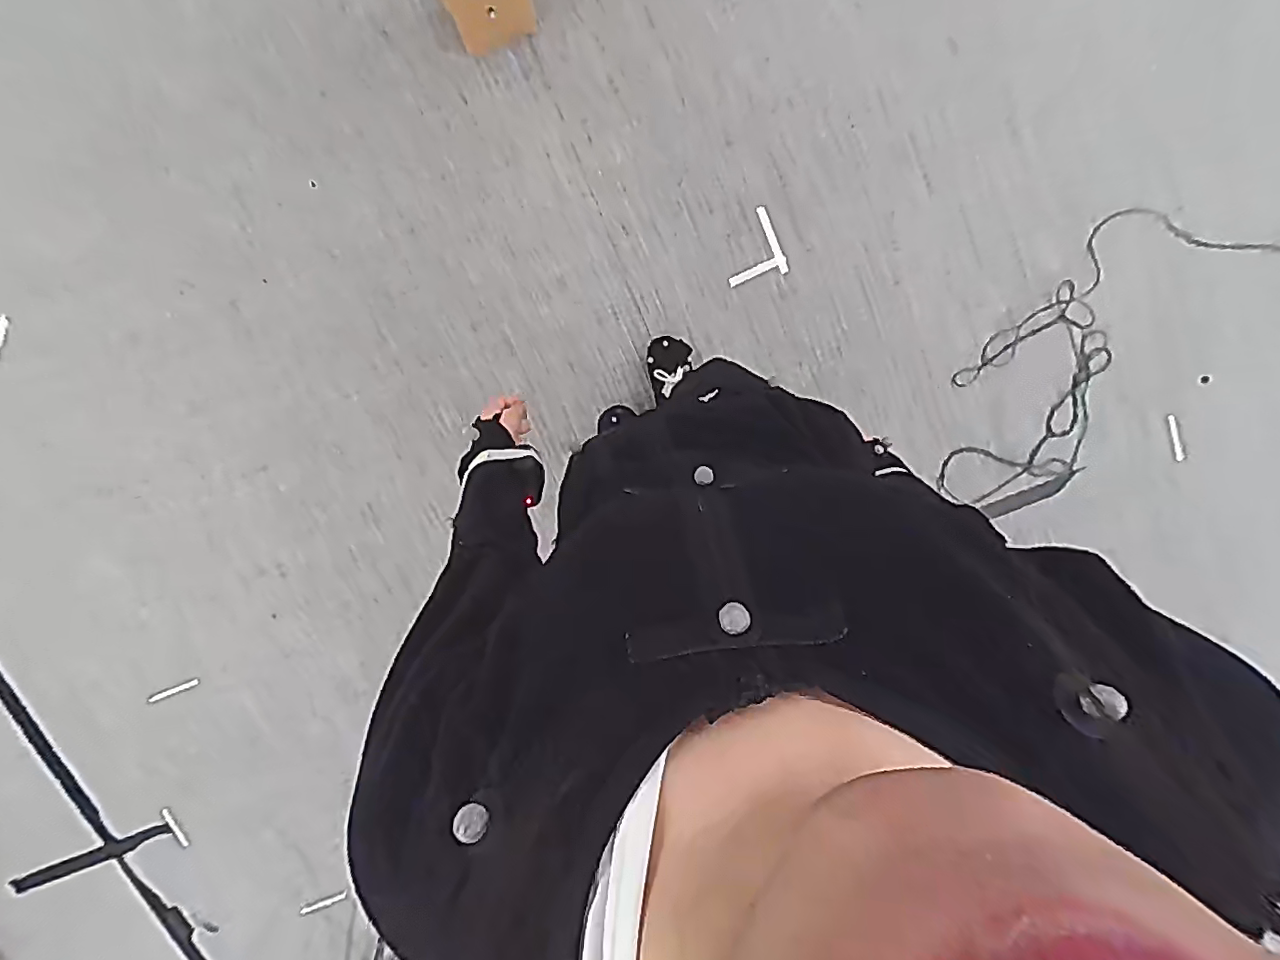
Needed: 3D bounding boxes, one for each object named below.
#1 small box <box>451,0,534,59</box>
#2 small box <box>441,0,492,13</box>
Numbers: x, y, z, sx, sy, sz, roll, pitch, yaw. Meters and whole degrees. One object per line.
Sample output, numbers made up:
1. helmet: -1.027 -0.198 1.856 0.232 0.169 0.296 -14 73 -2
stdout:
1. small box: -0.349 -1.098 1.205 0.179 0.176 0.168 -22 100 2
2. small box: -0.348 -1.063 1.045 0.179 0.176 0.168 -20 101 2
